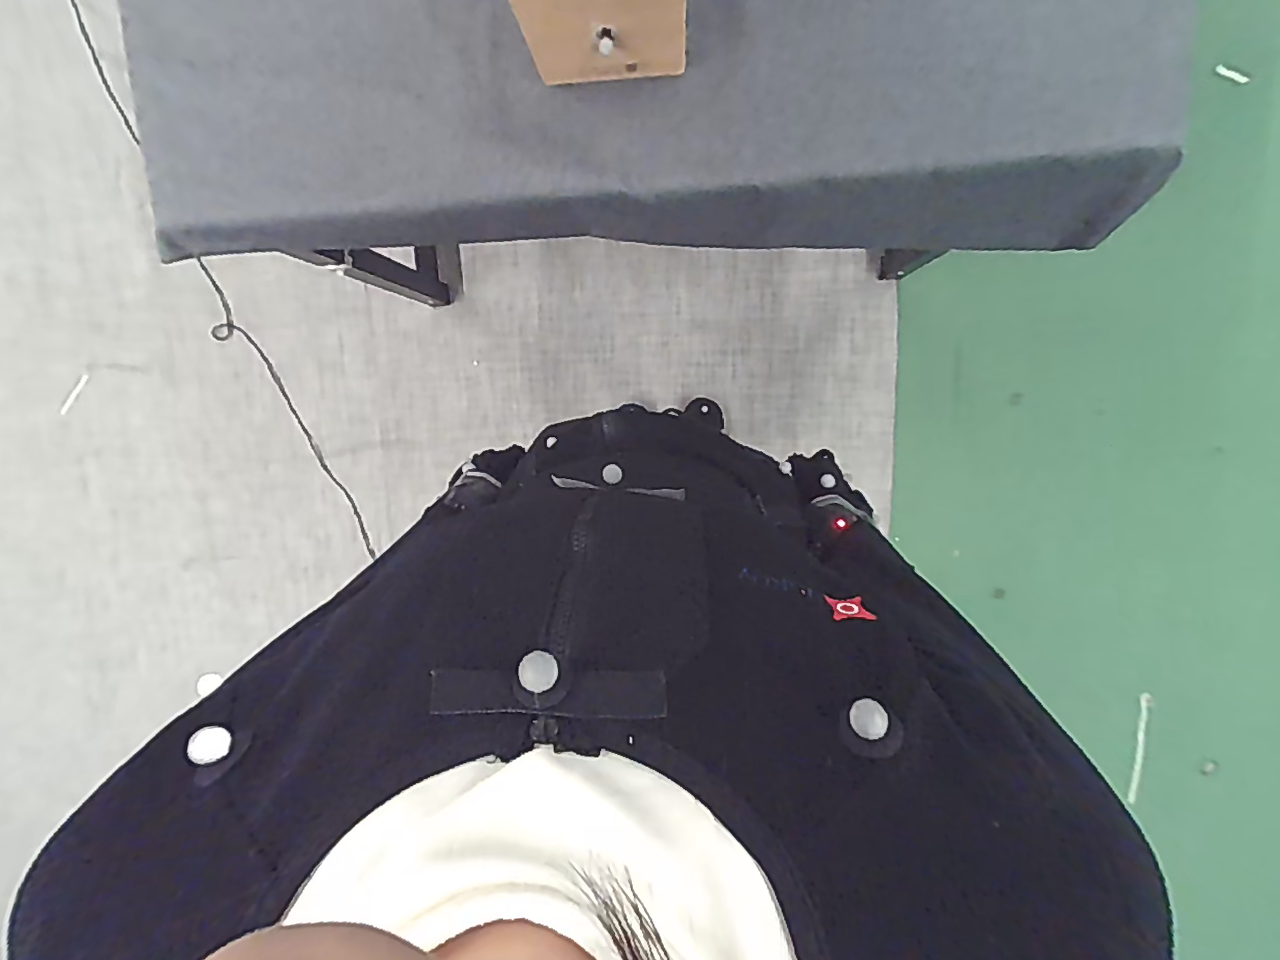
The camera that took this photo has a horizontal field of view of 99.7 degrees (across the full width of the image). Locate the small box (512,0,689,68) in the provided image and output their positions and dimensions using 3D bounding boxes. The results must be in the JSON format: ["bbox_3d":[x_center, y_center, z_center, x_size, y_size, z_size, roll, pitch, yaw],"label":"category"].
[{"bbox_3d":[-0.038,-0.541,0.528,0.168,0.176,0.179,-2,99,6],"label":"small box"}]
